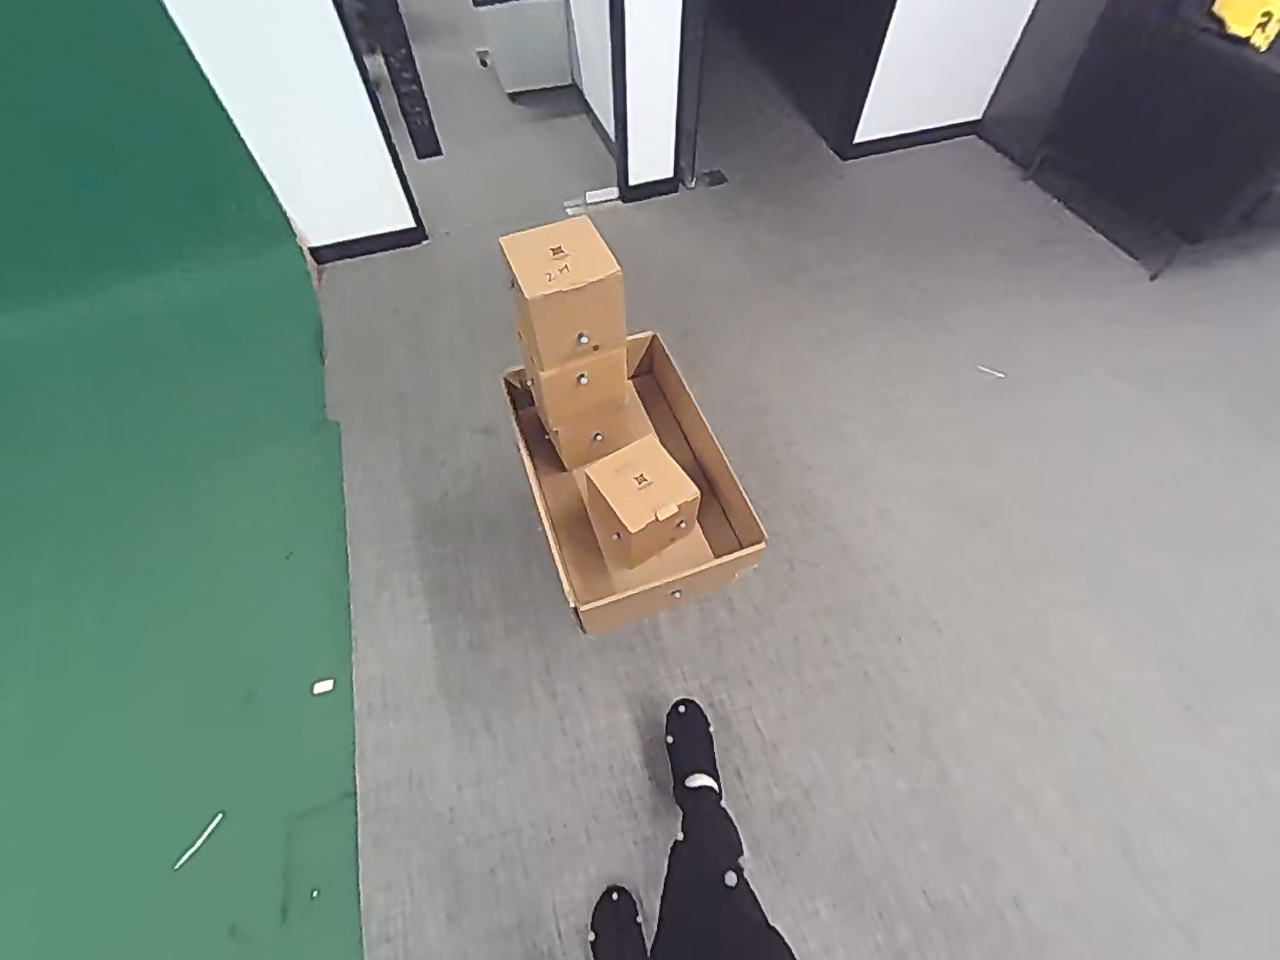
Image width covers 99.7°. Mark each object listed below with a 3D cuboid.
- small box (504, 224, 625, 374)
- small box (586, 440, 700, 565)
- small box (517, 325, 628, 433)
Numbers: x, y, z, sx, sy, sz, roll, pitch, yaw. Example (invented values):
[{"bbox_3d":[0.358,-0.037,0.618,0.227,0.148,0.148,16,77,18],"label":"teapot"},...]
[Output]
[{"bbox_3d":[-0.133,-0.326,0.984,0.168,0.176,0.179,-20,60,-11],"label":"small box"},{"bbox_3d":[0.006,0.056,1.130,0.168,0.176,0.179,-28,61,-18],"label":"small box"},{"bbox_3d":[-0.133,-0.227,1.117,0.179,0.176,0.168,-22,60,-12],"label":"small box"}]
